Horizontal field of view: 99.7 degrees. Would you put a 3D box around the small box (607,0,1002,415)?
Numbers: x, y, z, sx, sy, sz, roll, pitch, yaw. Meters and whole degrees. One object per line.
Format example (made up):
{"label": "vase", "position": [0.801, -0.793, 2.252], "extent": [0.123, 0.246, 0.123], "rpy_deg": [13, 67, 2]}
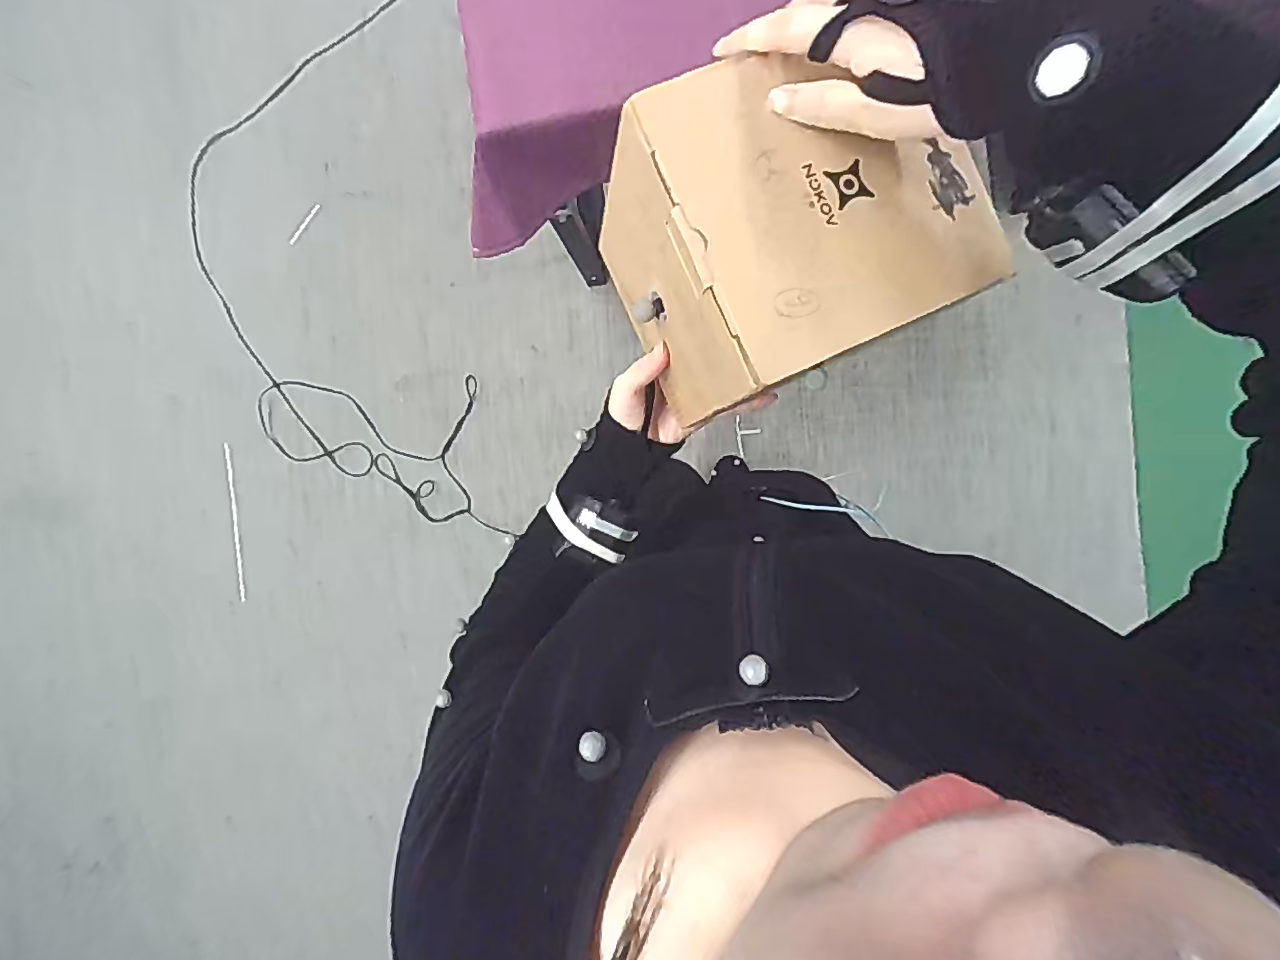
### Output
{"label": "small box", "position": [0.085, -0.156, 0.371], "extent": [0.179, 0.176, 0.168], "rpy_deg": [-26, 94, -8]}
